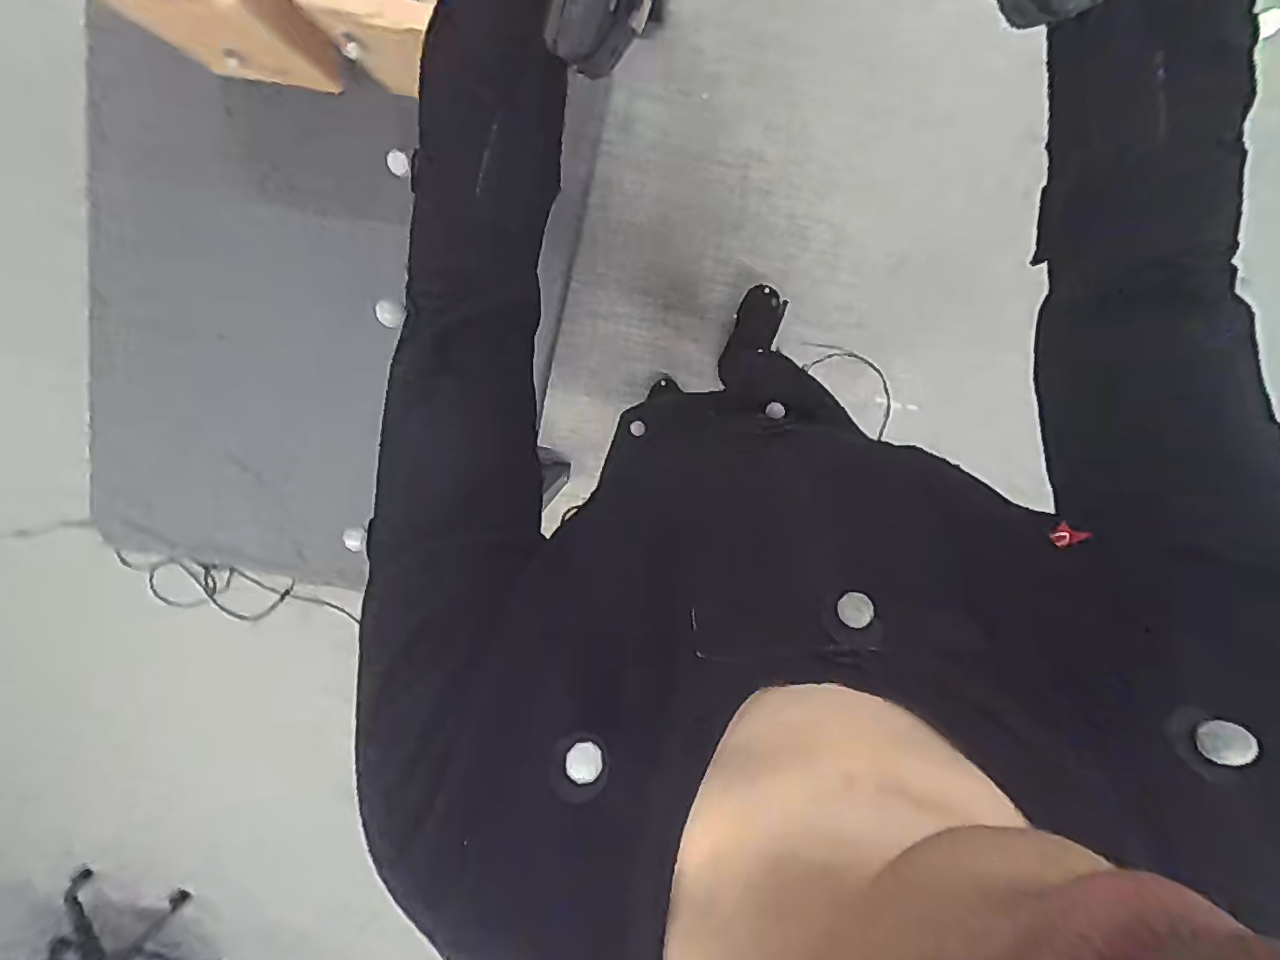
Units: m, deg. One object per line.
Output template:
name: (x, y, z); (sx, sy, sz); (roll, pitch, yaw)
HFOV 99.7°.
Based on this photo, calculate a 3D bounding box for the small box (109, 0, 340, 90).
small box: (-0.436, -0.550, 0.559); (0.168, 0.176, 0.179); (9, 105, 2)
